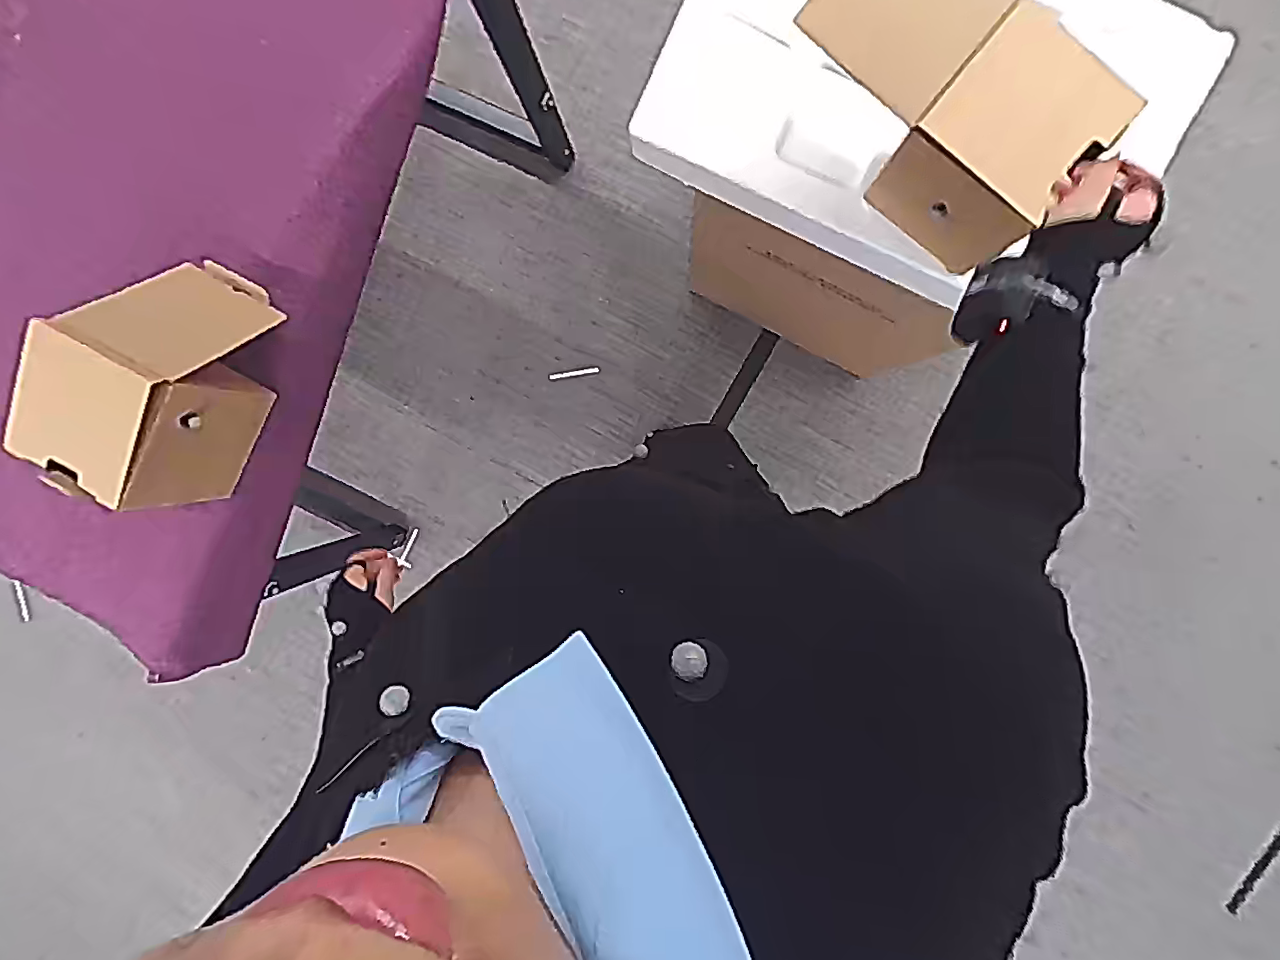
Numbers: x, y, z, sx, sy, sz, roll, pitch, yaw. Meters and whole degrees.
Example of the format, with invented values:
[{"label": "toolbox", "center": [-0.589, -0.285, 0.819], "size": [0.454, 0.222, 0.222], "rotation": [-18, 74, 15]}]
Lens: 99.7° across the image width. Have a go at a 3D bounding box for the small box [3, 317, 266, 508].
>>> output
[{"label": "small box", "center": [-0.648, -0.085, 0.719], "size": [0.168, 0.176, 0.179], "rotation": [29, 96, 2]}]
